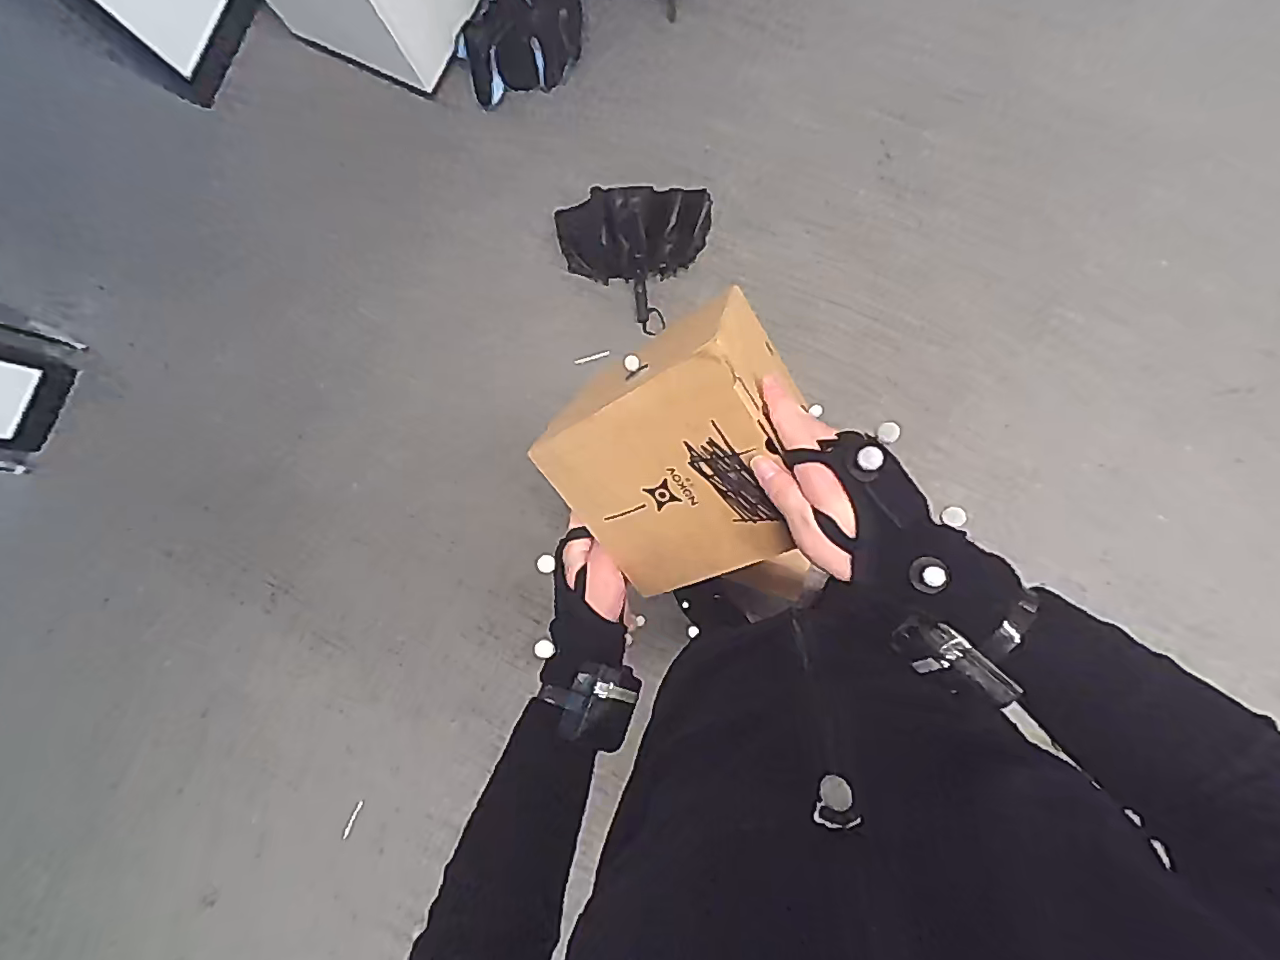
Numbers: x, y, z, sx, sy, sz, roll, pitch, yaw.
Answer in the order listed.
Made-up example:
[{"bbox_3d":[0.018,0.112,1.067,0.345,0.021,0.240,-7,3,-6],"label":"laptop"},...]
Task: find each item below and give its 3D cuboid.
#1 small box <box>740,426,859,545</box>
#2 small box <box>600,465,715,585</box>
[{"bbox_3d":[0.289,0.015,1.016,0.168,0.176,0.179,15,86,9],"label":"small box"},{"bbox_3d":[0.041,0.082,1.046,0.168,0.176,0.179,19,92,10],"label":"small box"}]
